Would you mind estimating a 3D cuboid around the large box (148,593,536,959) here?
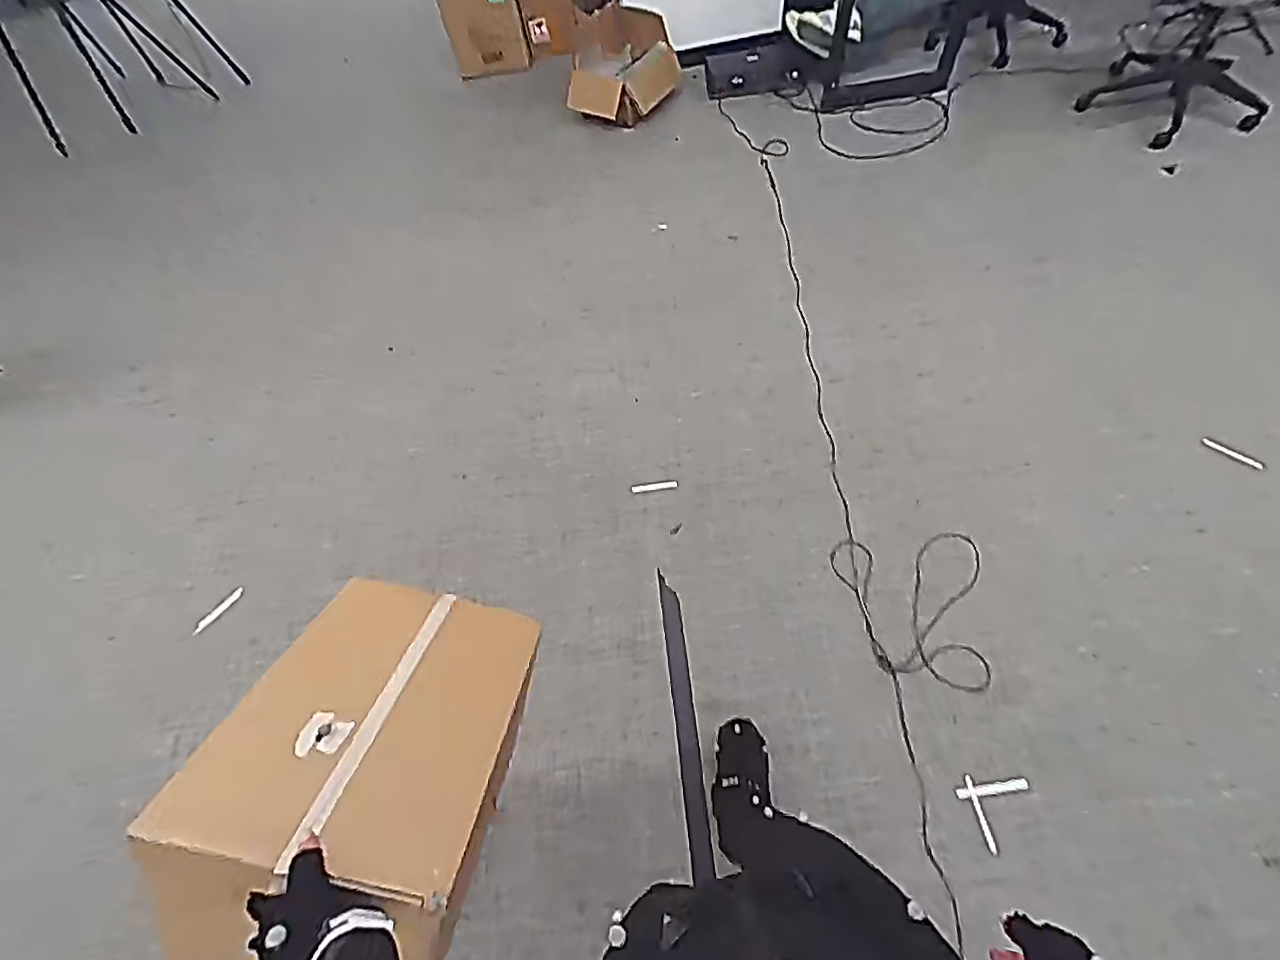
[{"bbox_3d":[-0.366,0.437,0.785,0.320,0.320,0.408,13,27,-2],"label":"large box"}]
